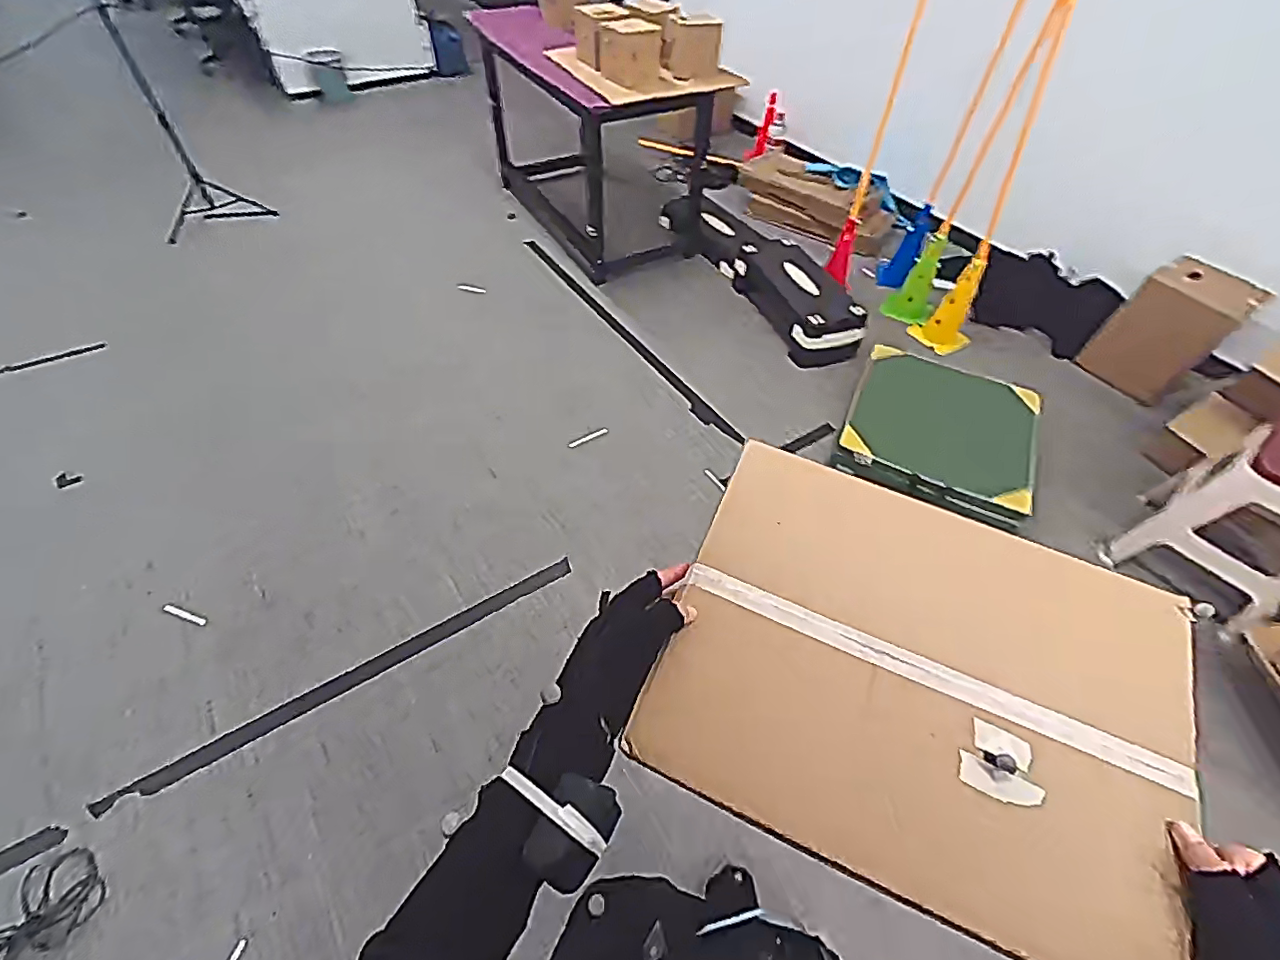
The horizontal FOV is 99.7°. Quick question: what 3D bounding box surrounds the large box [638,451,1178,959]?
[{"bbox_3d":[0.235,0.227,0.592,0.408,0.320,0.320,22,65,11],"label":"large box"}]
